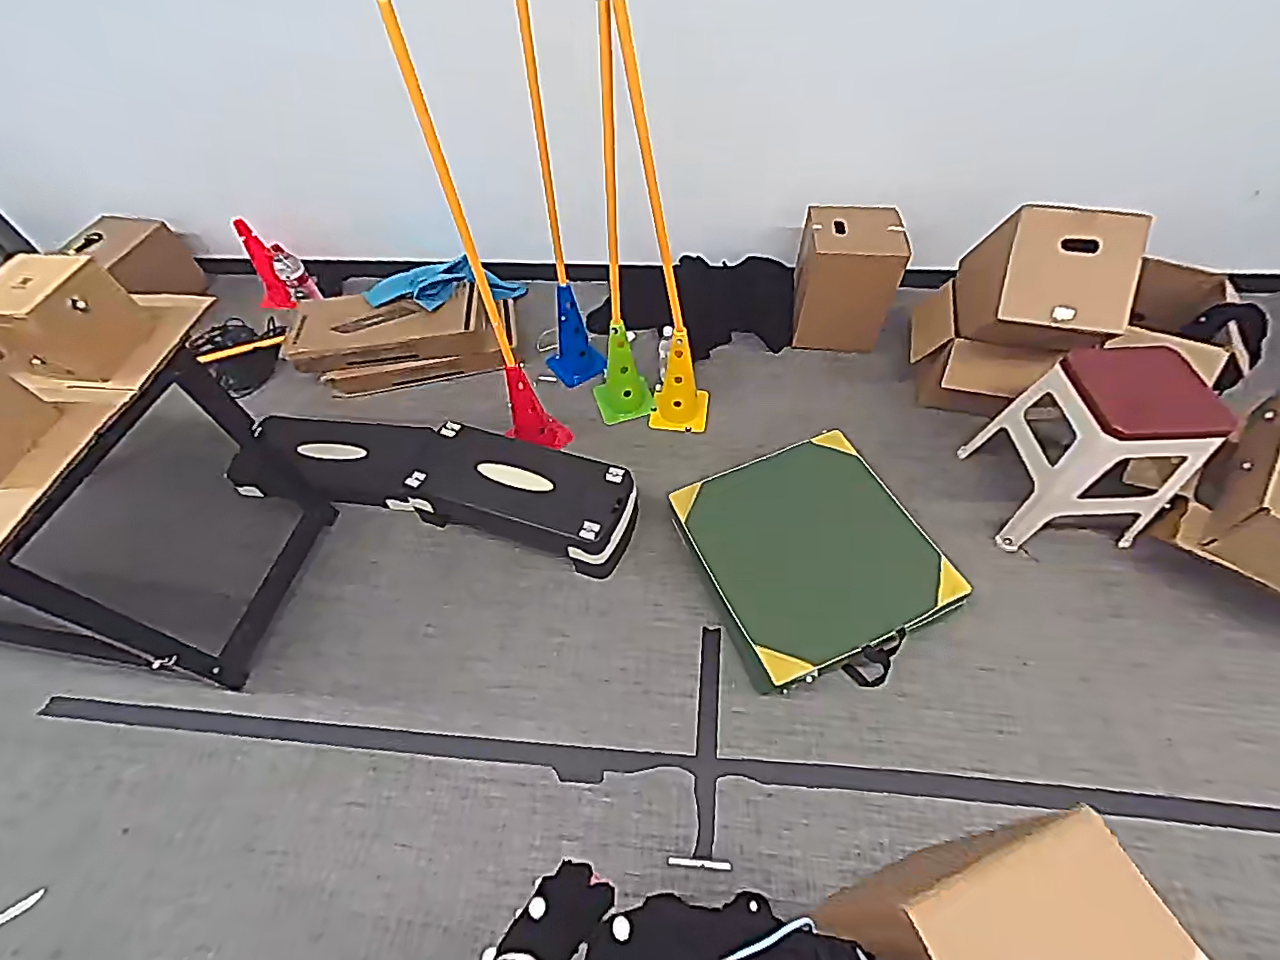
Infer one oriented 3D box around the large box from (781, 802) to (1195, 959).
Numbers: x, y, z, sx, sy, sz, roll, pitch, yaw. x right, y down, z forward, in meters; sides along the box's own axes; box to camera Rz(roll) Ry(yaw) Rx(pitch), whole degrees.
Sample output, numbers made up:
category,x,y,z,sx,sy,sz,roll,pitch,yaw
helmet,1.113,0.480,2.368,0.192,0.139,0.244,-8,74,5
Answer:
category,x,y,z,sx,sy,sz,roll,pitch,yaw
large box,0.444,0.676,0.692,0.320,0.408,0.320,-11,51,-19
